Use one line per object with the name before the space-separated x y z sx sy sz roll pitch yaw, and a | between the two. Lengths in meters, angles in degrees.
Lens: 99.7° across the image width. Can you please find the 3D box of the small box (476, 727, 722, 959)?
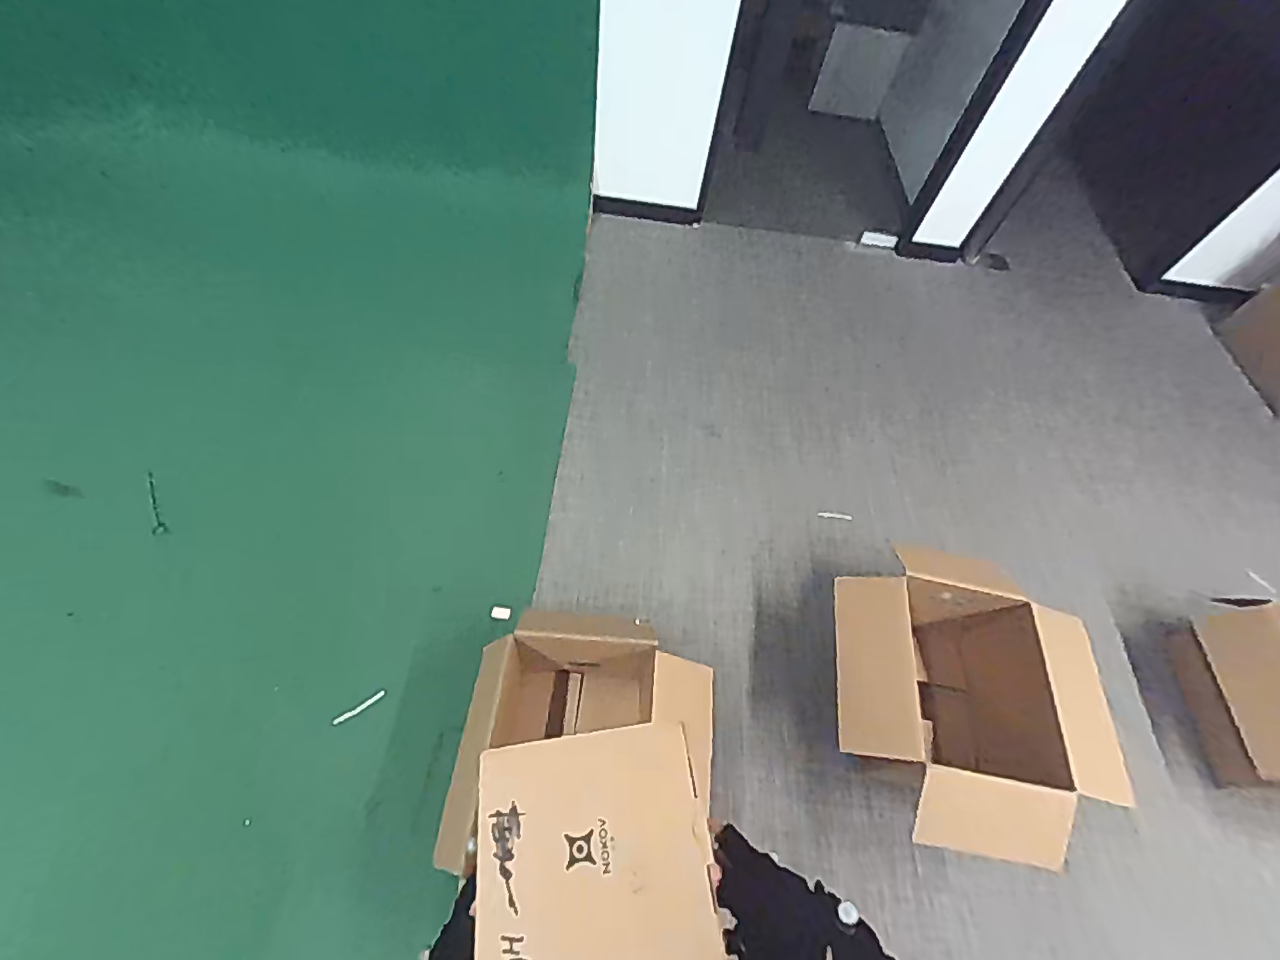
small box | -0.037 0.334 0.484 0.179 0.176 0.168 -6 54 -4
